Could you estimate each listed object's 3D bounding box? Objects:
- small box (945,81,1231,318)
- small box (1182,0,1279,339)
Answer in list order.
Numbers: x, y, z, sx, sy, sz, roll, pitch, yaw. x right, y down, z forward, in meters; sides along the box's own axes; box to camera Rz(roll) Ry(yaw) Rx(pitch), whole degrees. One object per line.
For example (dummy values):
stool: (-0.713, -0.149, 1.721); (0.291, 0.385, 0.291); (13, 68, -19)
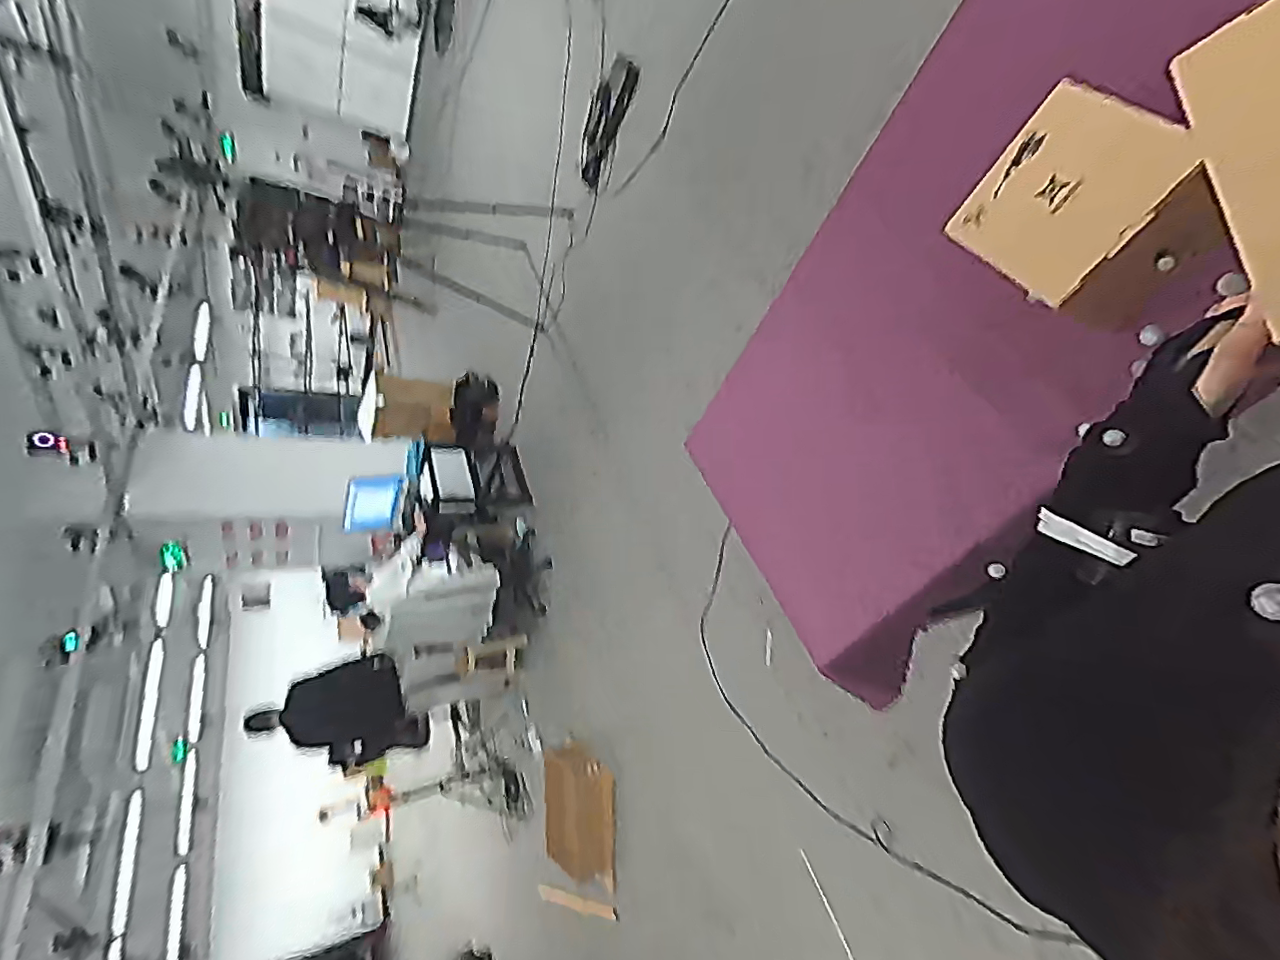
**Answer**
small box: (0.505, -0.302, 0.612); (0.168, 0.176, 0.179); (-58, 45, 38)
small box: (0.436, -0.184, 0.277); (0.168, 0.176, 0.179); (-21, 78, 56)
